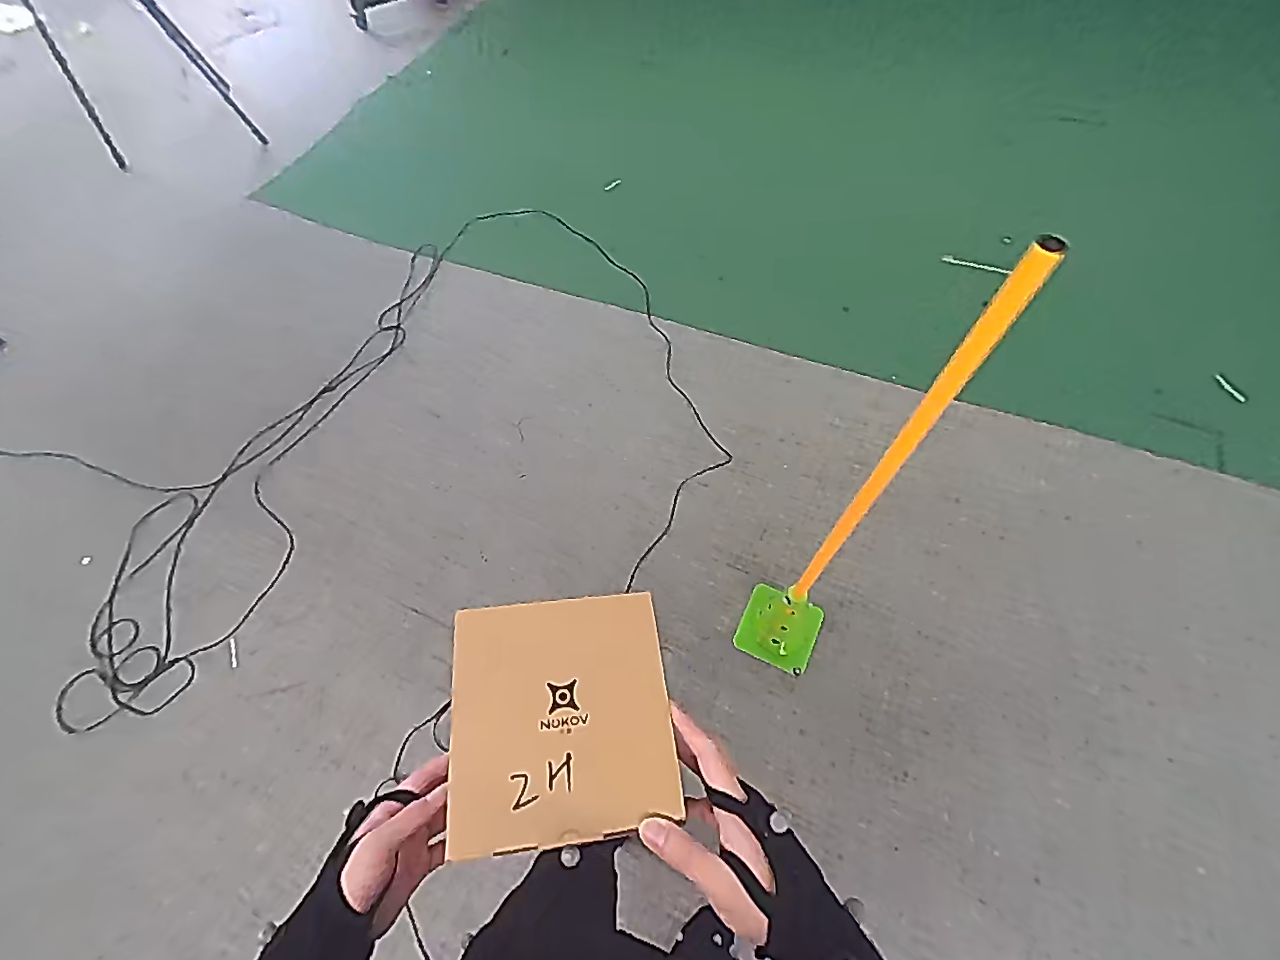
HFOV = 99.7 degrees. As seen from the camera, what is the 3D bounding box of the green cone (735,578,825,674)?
[{"bbox_3d":[0.362,0.315,1.319,0.202,0.368,0.200,21,65,18],"label":"green cone"}]
